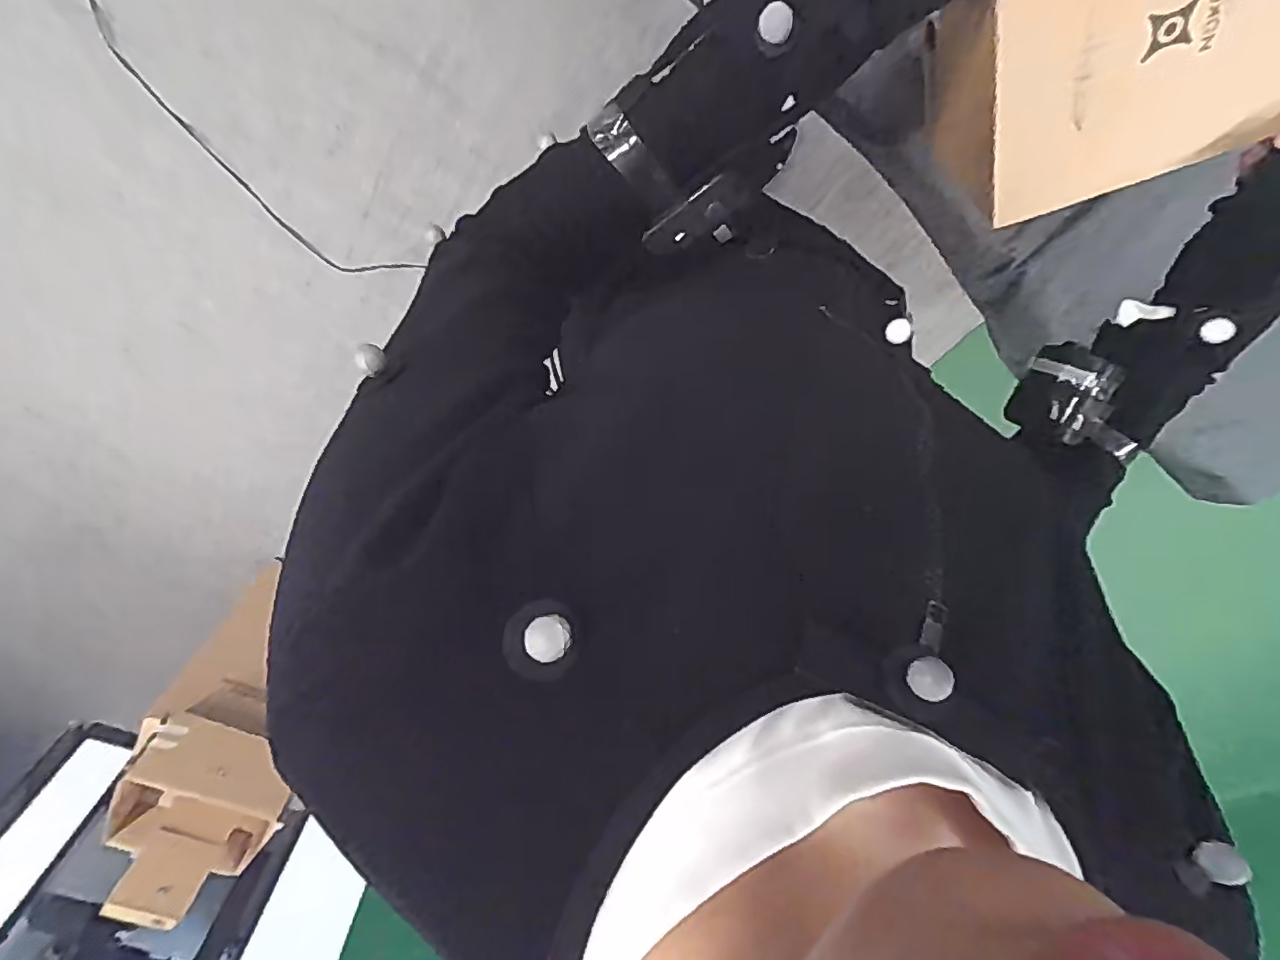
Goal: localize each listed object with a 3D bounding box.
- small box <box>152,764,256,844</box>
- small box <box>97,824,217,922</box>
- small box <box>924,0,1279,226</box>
[{"bbox_3d":[-1.293,0.969,1.601,0.179,0.176,0.168,32,125,-17],"label":"small box"},{"bbox_3d":[-1.305,1.067,1.469,0.179,0.176,0.168,35,124,-19],"label":"small box"},{"bbox_3d":[0.295,-0.302,0.338,0.179,0.176,0.168,-13,135,22],"label":"small box"}]
